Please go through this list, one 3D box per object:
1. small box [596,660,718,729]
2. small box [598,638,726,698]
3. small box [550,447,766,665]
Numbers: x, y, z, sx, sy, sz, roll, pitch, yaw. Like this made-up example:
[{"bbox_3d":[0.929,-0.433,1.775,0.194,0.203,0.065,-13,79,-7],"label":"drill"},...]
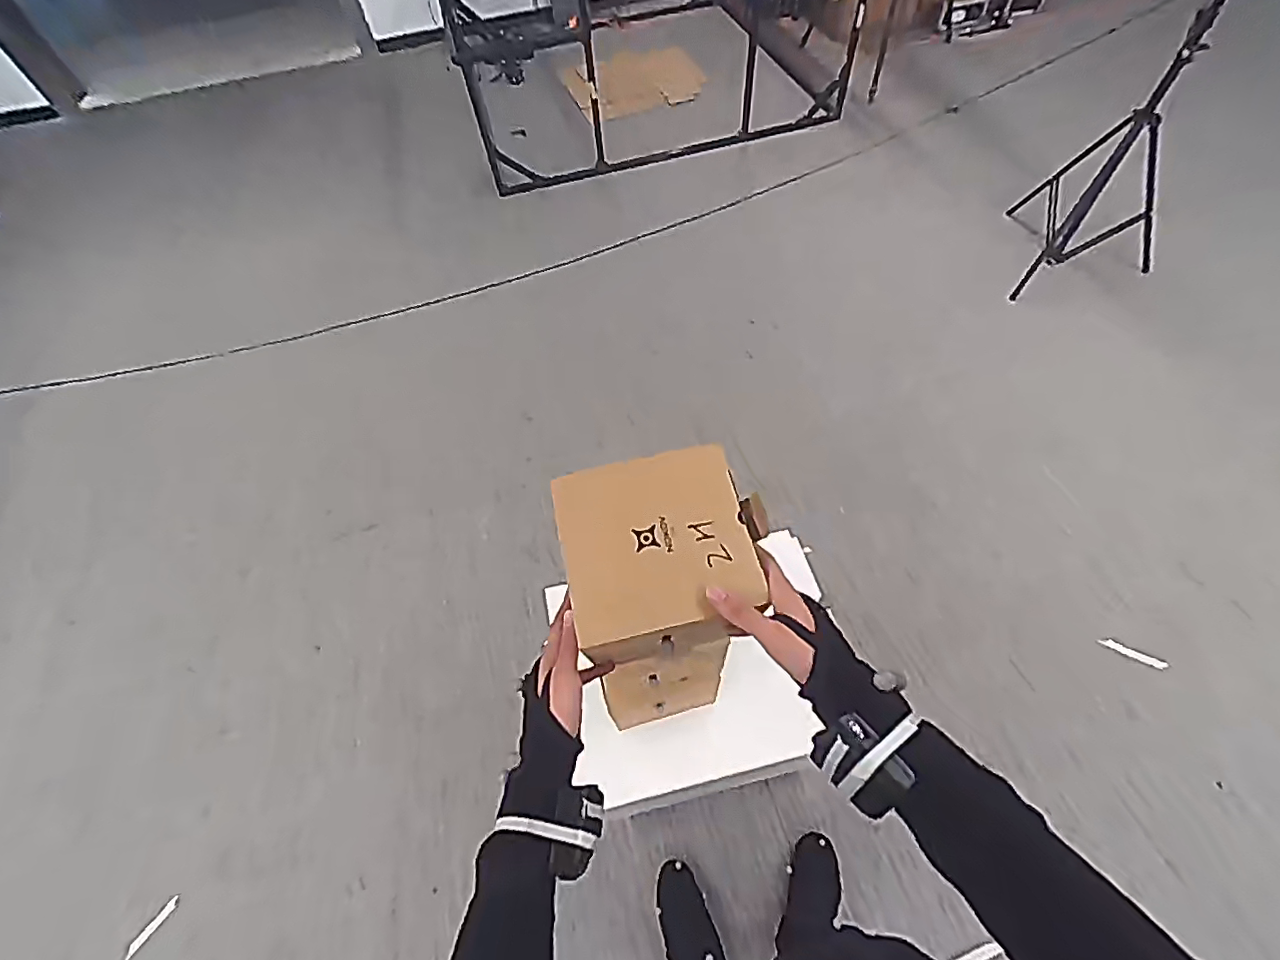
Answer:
[{"bbox_3d":[0.021,0.302,0.908,0.179,0.176,0.168,-14,57,-6],"label":"small box"},{"bbox_3d":[0.018,0.200,0.780,0.168,0.176,0.179,-14,56,-5],"label":"small box"},{"bbox_3d":[0.014,0.090,0.575,0.179,0.176,0.168,-12,65,-5],"label":"small box"}]
